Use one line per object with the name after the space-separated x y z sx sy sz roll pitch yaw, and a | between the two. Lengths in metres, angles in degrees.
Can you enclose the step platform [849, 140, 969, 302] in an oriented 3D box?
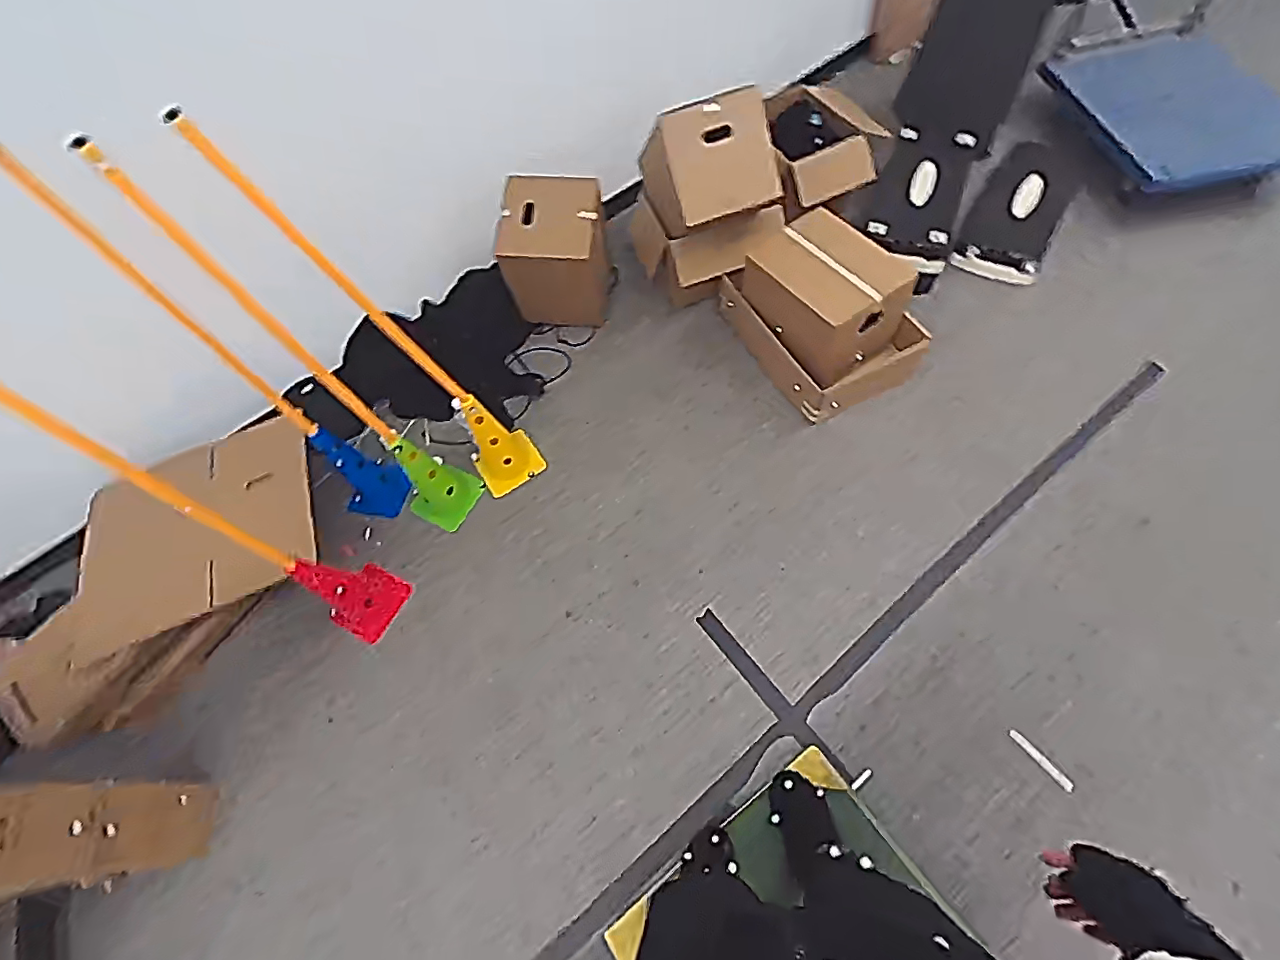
1.009 -0.985 2.021 0.286 0.204 0.684 17 66 17 | step platform
